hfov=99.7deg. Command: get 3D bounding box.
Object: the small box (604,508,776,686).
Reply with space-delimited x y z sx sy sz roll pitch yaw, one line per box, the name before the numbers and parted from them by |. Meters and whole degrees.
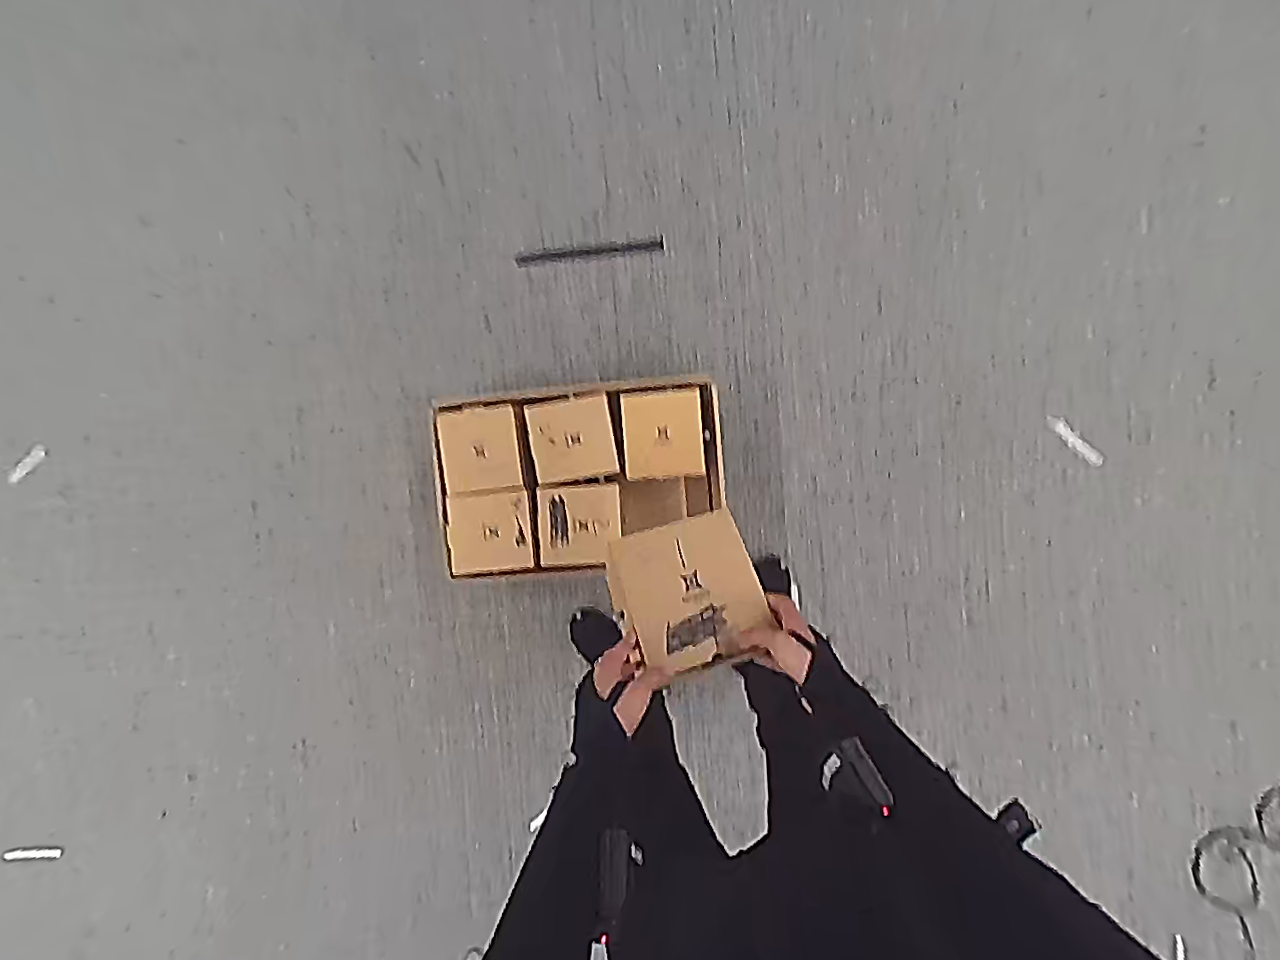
small box | 0.055 0.164 0.721 0.168 0.176 0.179 -15 66 -11
